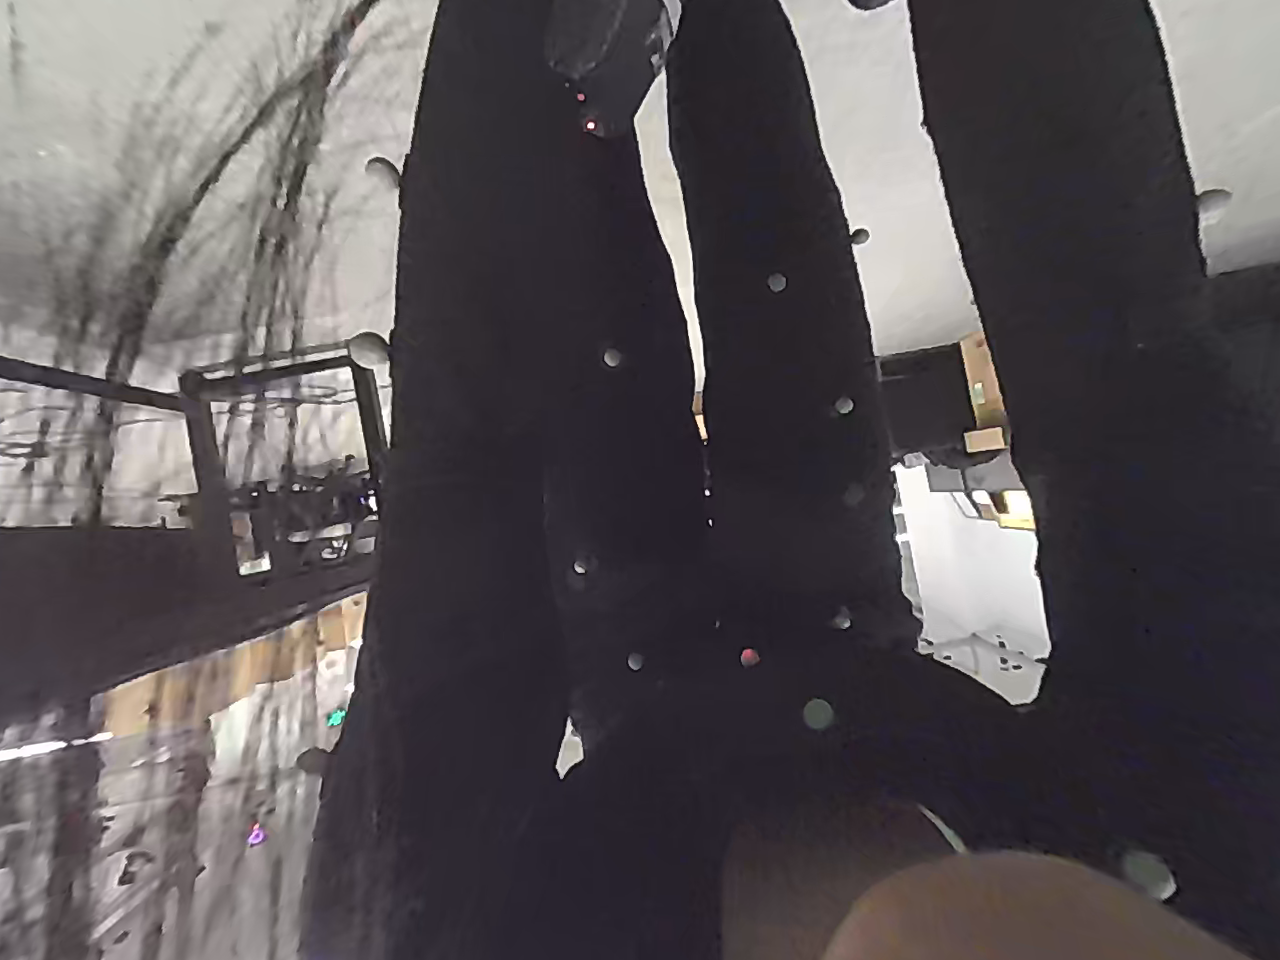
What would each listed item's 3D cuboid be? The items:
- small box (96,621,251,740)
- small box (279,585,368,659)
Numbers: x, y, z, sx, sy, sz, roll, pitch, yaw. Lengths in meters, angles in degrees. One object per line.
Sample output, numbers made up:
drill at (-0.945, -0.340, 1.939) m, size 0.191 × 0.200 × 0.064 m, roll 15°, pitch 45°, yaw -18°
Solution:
small box at (-0.930, 0.390, 1.083) m, size 0.179 × 0.176 × 0.168 m, roll -11°, pitch 178°, yaw -1°
small box at (-0.930, 0.410, 1.591) m, size 0.179 × 0.176 × 0.168 m, roll -9°, pitch 178°, yaw -4°
